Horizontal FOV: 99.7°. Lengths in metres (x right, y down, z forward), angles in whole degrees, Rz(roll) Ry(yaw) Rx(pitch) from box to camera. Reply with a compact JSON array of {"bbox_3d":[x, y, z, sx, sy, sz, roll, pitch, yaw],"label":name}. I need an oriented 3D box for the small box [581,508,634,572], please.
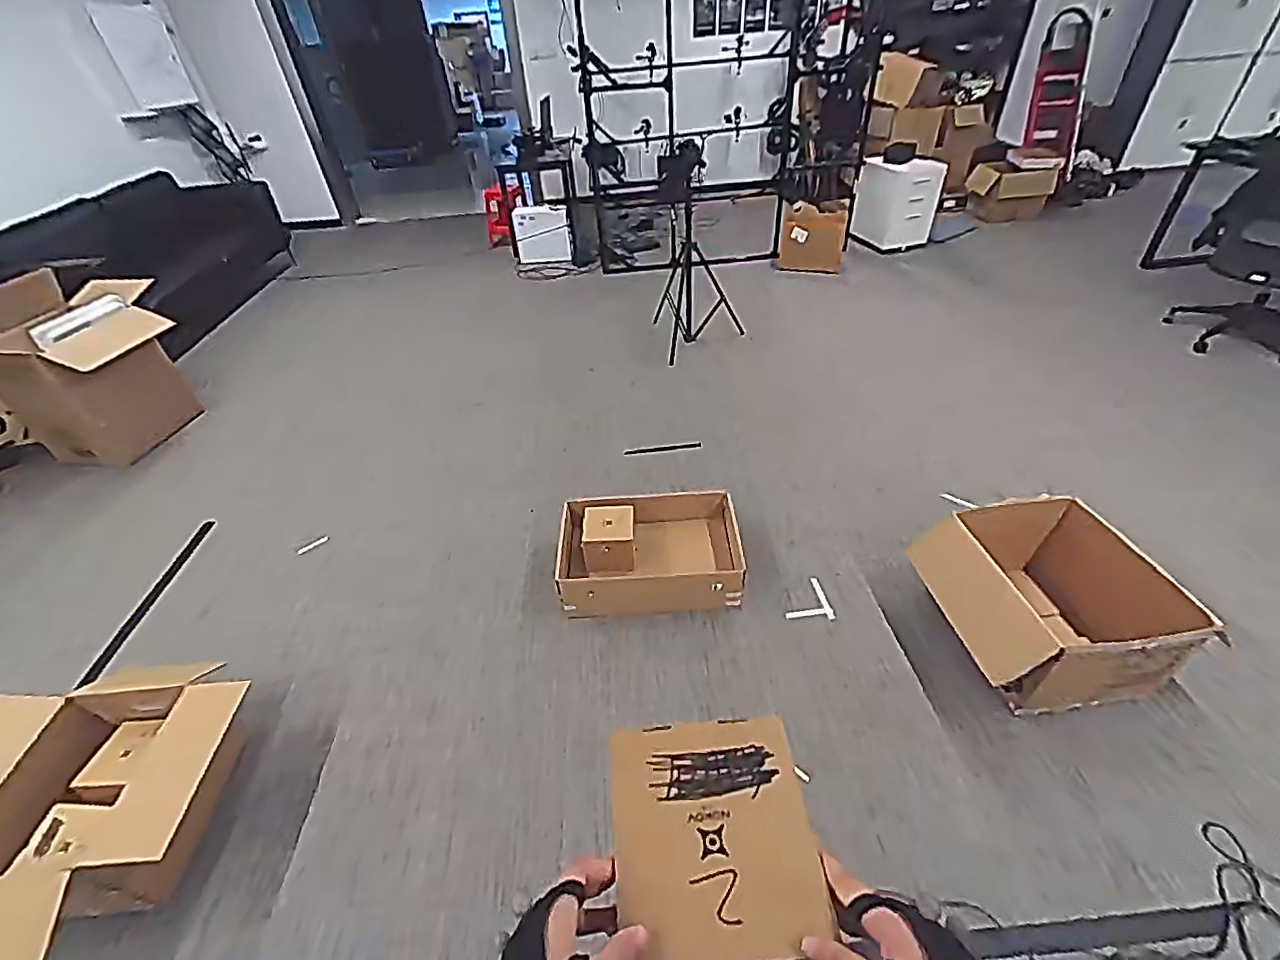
[{"bbox_3d":[-0.112,0.219,1.943,0.179,0.176,0.168,-2,42,1],"label":"small box"}]
